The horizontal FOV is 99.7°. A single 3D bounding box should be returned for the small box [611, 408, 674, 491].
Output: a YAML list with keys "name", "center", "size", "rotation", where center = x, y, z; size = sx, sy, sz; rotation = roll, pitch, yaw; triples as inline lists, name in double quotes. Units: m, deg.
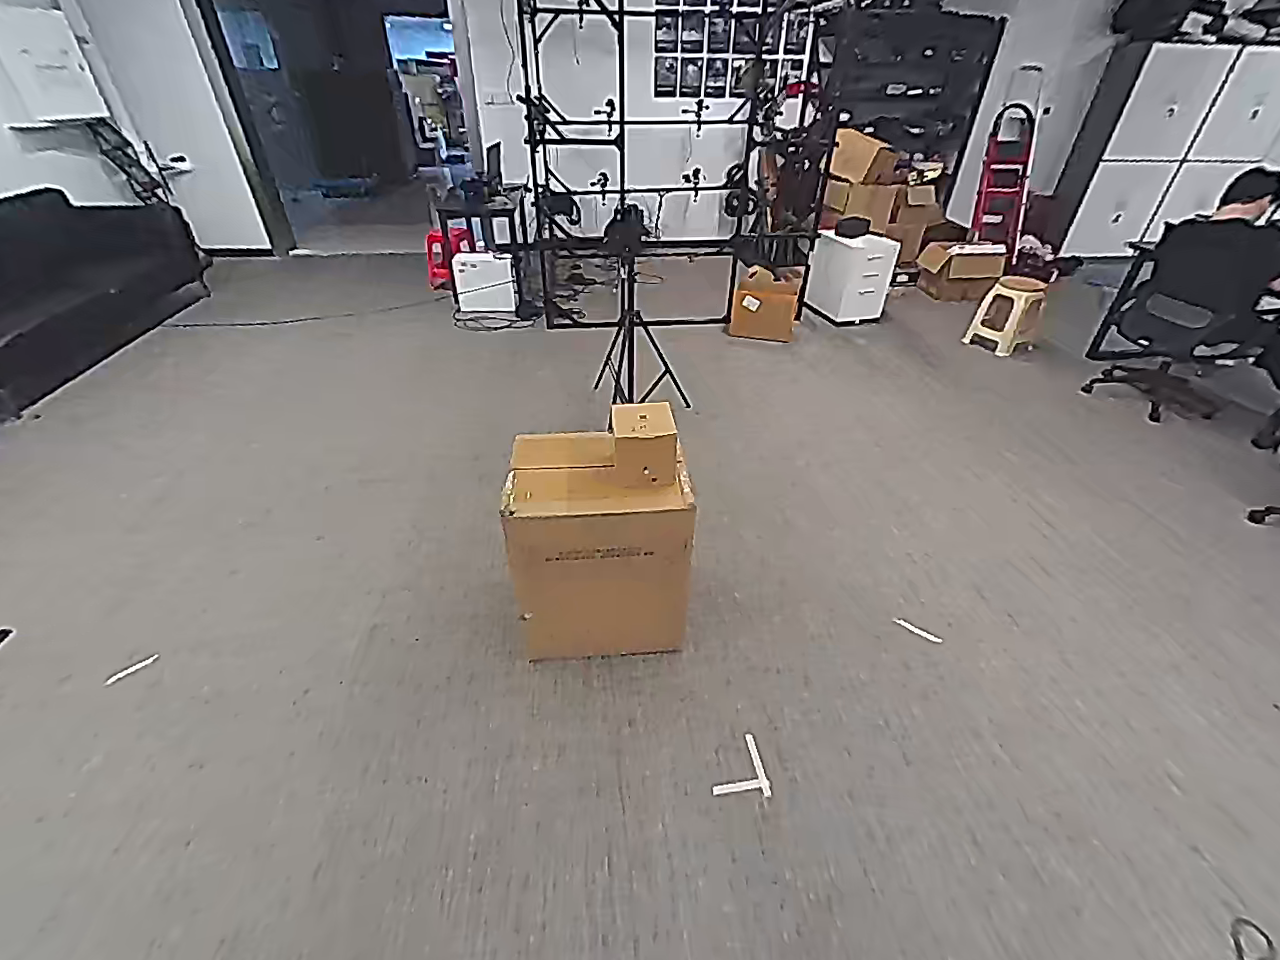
- name: "small box"
  center: [0.002, -0.088, 1.534]
  size: [0.168, 0.176, 0.179]
  rotation: [-4, 38, -4]
